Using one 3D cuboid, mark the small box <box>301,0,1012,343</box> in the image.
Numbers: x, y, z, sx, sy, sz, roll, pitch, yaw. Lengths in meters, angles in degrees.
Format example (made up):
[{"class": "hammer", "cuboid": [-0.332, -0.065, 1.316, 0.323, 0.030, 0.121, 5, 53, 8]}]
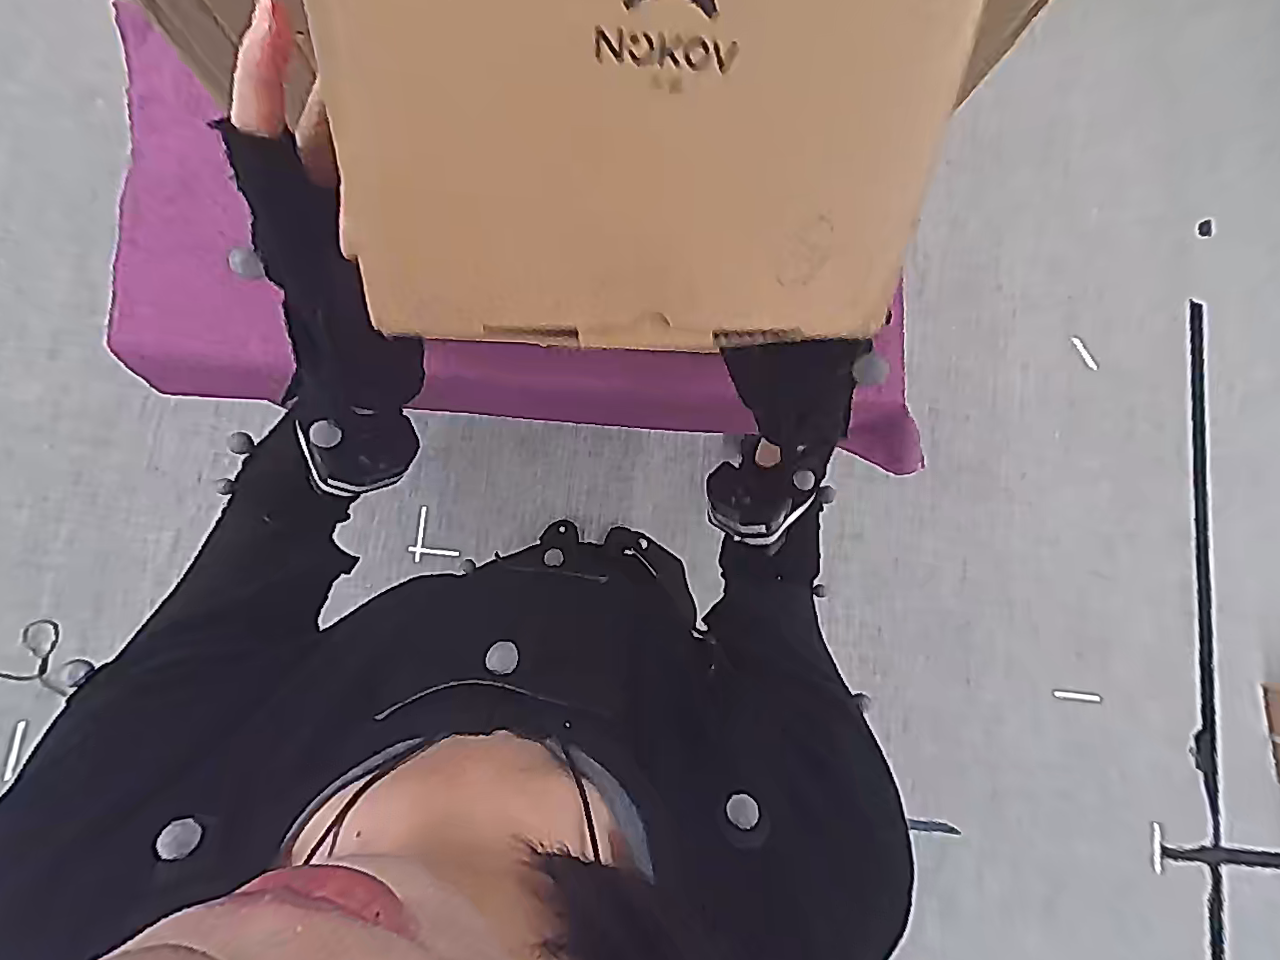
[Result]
[{"class": "small box", "cuboid": [-0.003, -0.159, 0.185, 0.168, 0.176, 0.179, -3, 123, -11]}]
